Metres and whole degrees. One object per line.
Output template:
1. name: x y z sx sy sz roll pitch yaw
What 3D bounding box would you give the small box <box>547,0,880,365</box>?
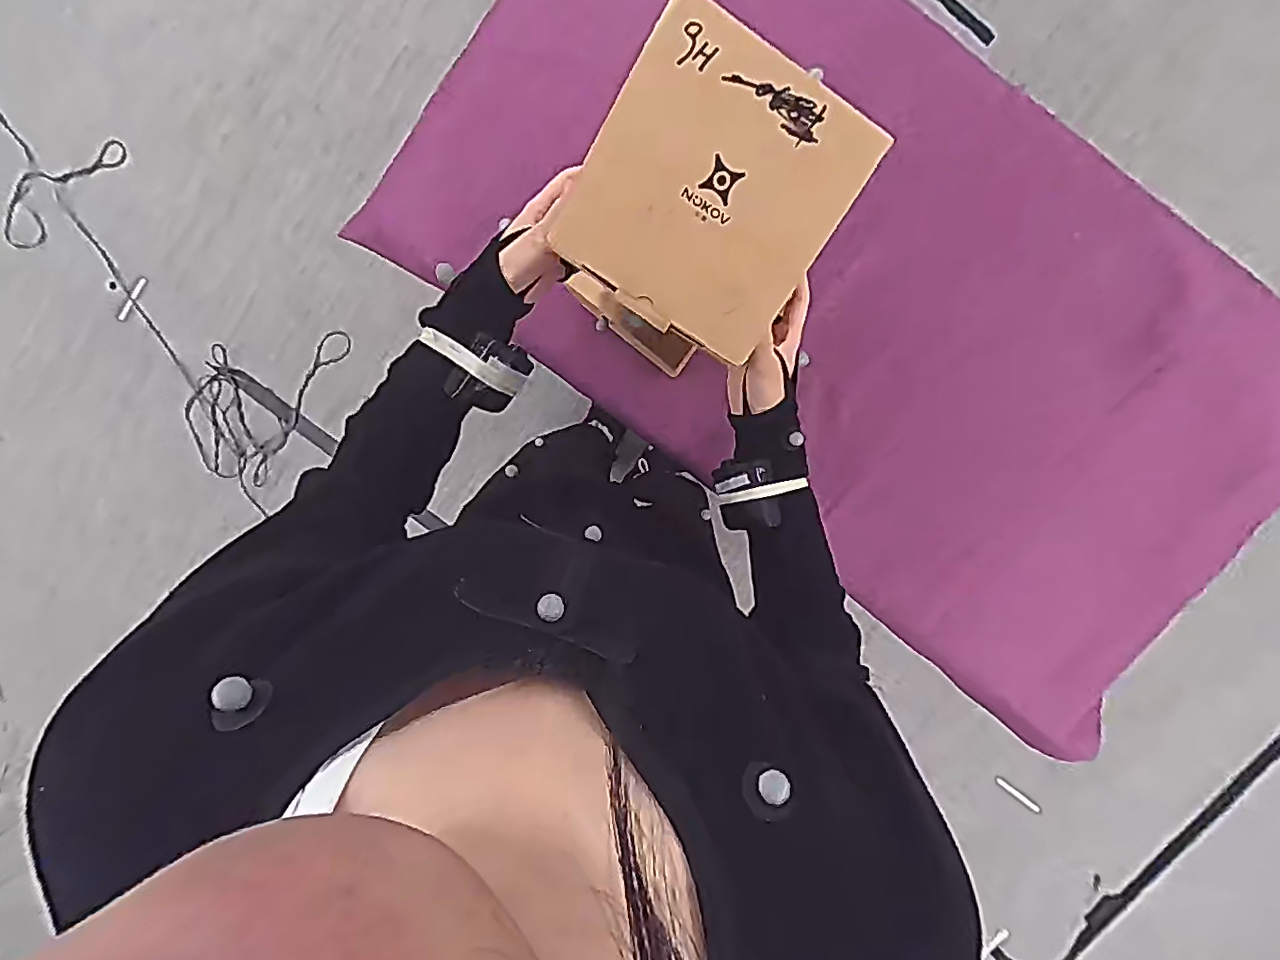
1. small box: 0.050 -0.217 0.444 0.168 0.176 0.179 32 105 -7

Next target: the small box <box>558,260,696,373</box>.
1. small box: 0.030 -0.247 0.653 0.168 0.176 0.179 38 96 -3
